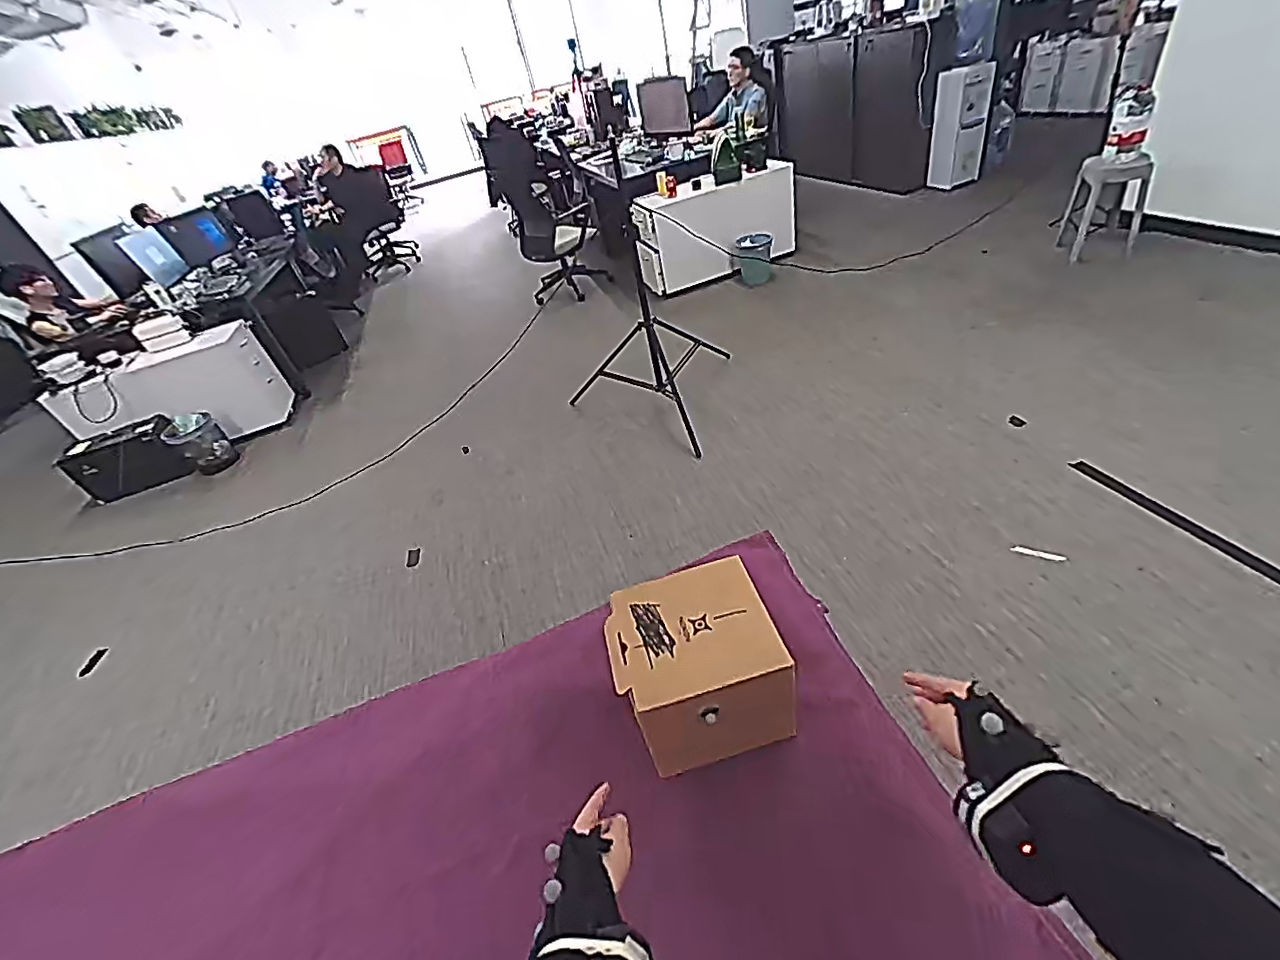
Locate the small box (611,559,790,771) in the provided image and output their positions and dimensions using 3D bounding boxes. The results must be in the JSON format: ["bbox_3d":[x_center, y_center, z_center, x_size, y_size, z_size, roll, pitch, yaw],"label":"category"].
[{"bbox_3d":[0.076,0.233,0.678,0.179,0.176,0.168,-16,40,-3],"label":"small box"}]
